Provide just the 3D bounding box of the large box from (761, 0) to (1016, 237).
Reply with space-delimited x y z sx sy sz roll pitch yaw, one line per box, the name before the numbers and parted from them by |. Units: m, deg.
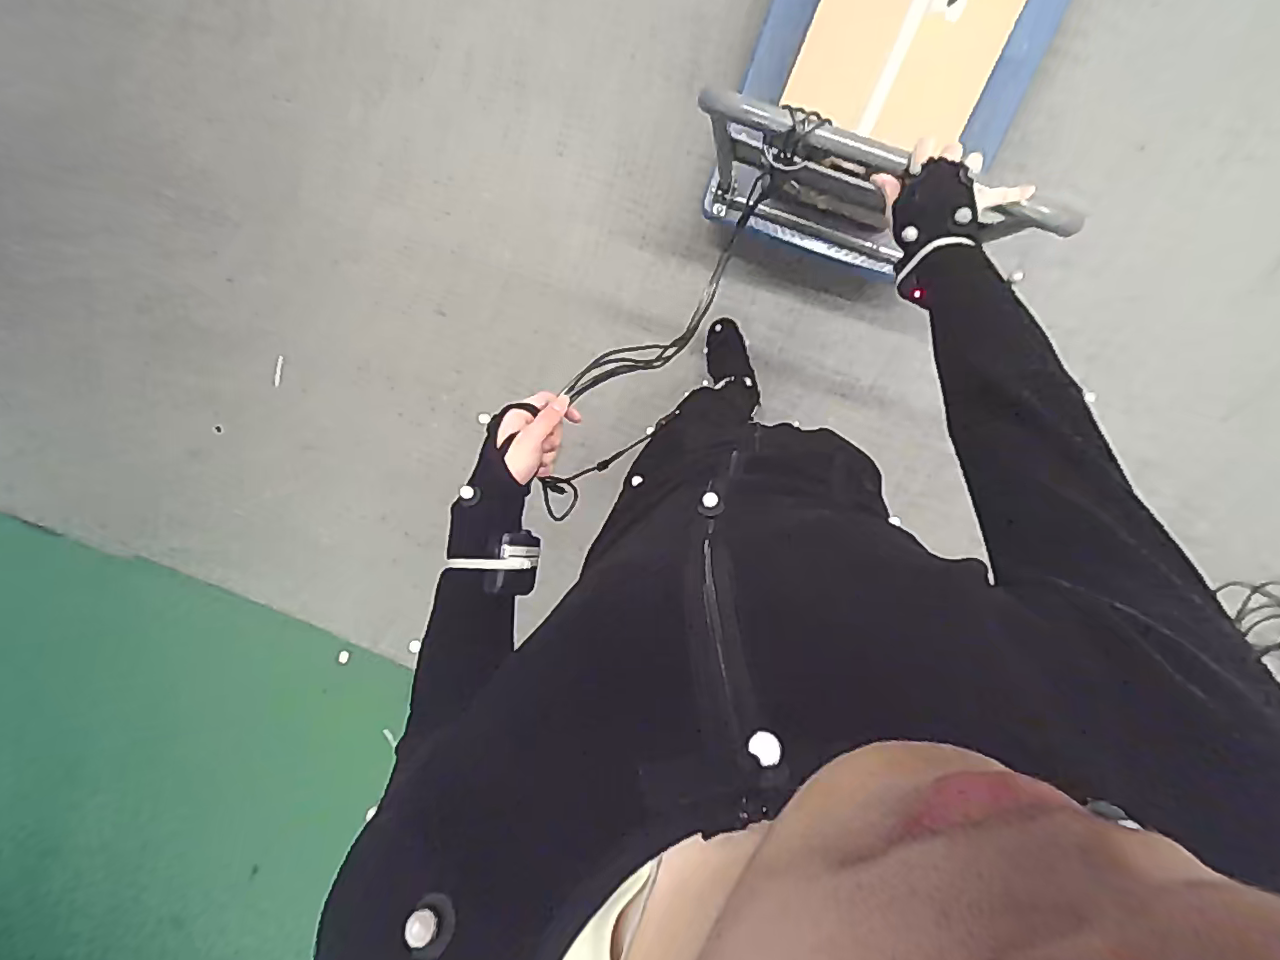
large box | 0.464 -0.769 1.083 0.320 0.320 0.408 23 103 4
